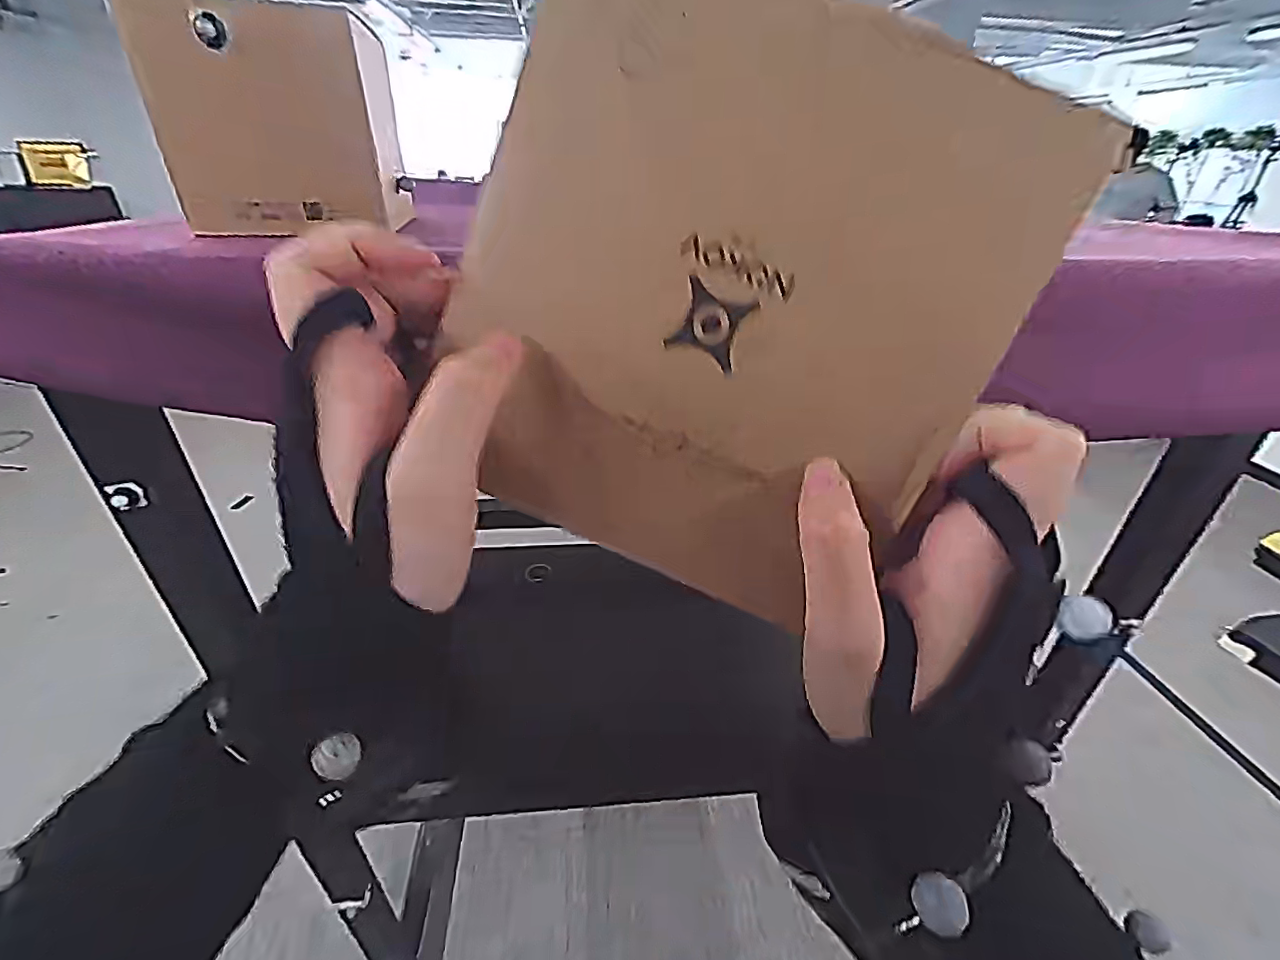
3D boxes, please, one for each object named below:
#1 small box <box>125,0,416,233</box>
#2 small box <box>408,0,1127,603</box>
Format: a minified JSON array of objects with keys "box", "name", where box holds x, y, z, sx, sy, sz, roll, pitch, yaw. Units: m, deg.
[{"box":[-0.321,-0.337,0.515,0.168,0.176,0.179,-6,31,-11],"name":"small box"},{"box":[0.034,-0.084,0.244,0.168,0.179,0.176,24,15,2],"name":"small box"}]
